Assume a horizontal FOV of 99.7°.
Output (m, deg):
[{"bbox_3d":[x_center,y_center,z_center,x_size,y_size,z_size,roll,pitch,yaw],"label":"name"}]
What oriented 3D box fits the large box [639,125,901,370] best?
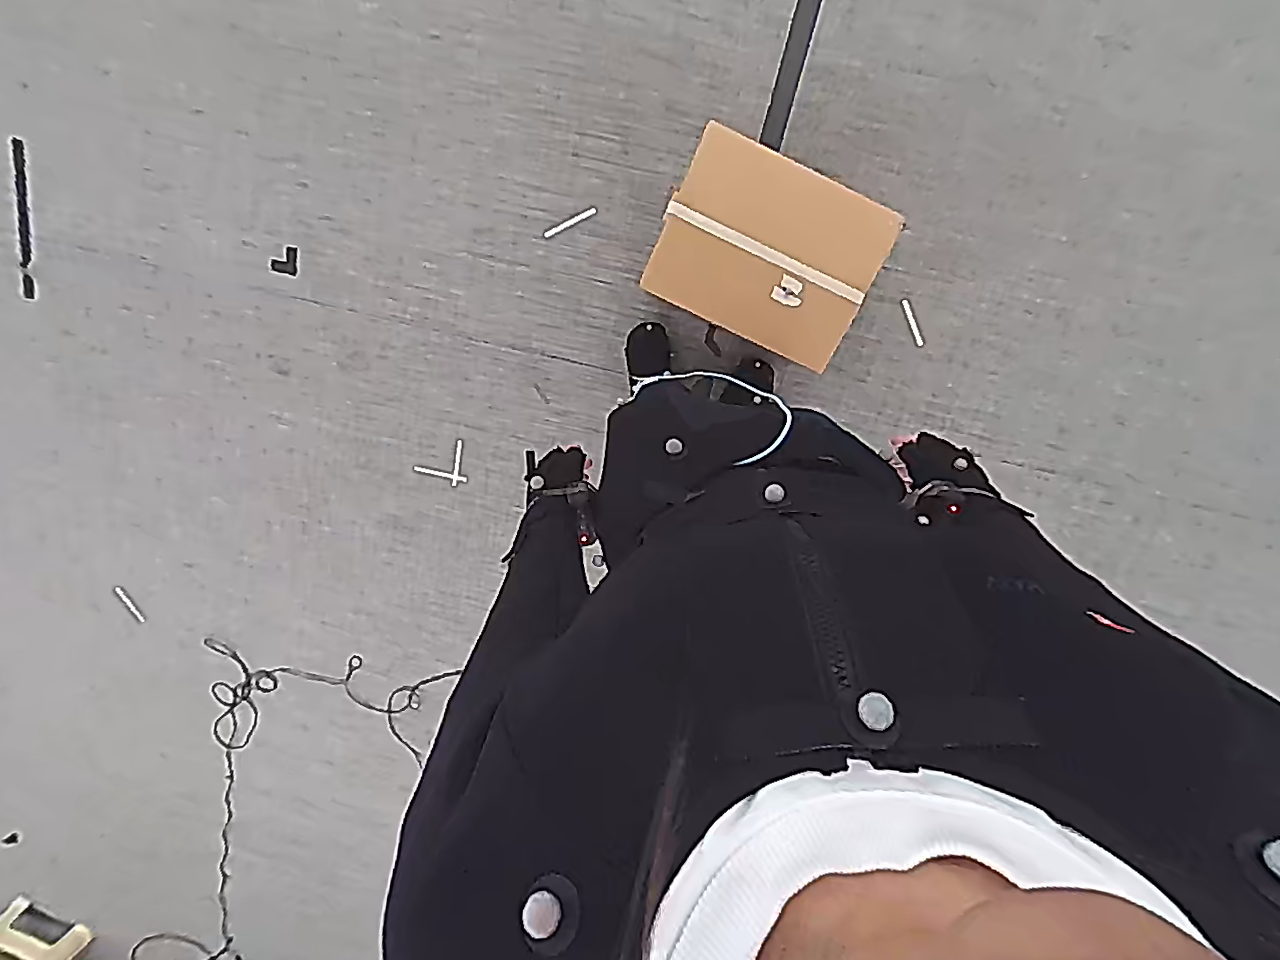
[{"bbox_3d":[0.245,-0.470,1.160,0.408,0.320,0.320,25,108,-3],"label":"large box"}]
